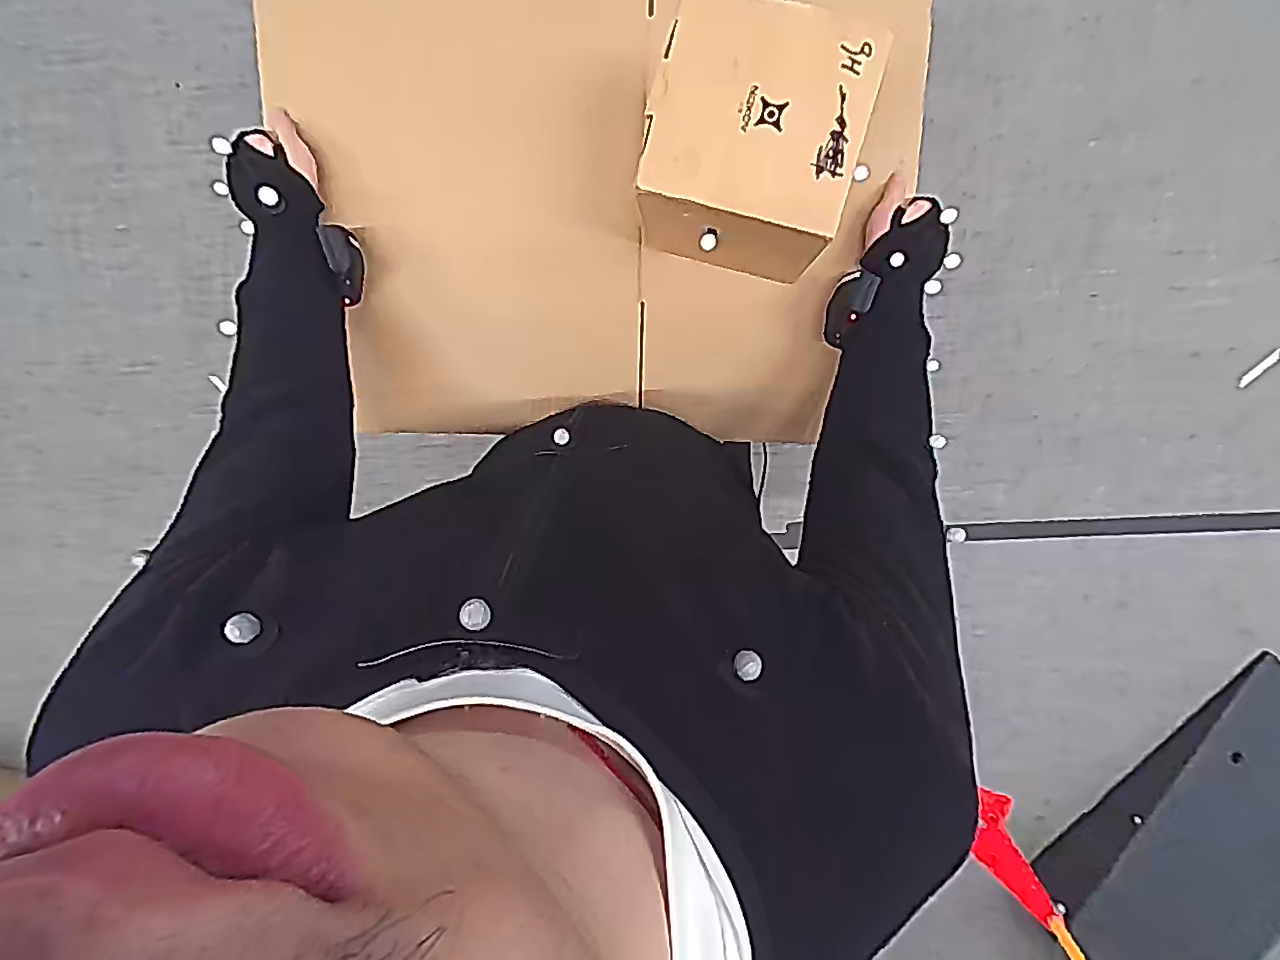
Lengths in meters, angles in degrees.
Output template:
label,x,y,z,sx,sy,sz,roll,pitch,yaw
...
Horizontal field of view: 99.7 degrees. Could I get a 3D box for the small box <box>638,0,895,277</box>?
label,x,y,z,sx,sy,sz,roll,pitch,yaw
small box,0.109,-0.315,0.528,0.179,0.176,0.168,16,98,3
